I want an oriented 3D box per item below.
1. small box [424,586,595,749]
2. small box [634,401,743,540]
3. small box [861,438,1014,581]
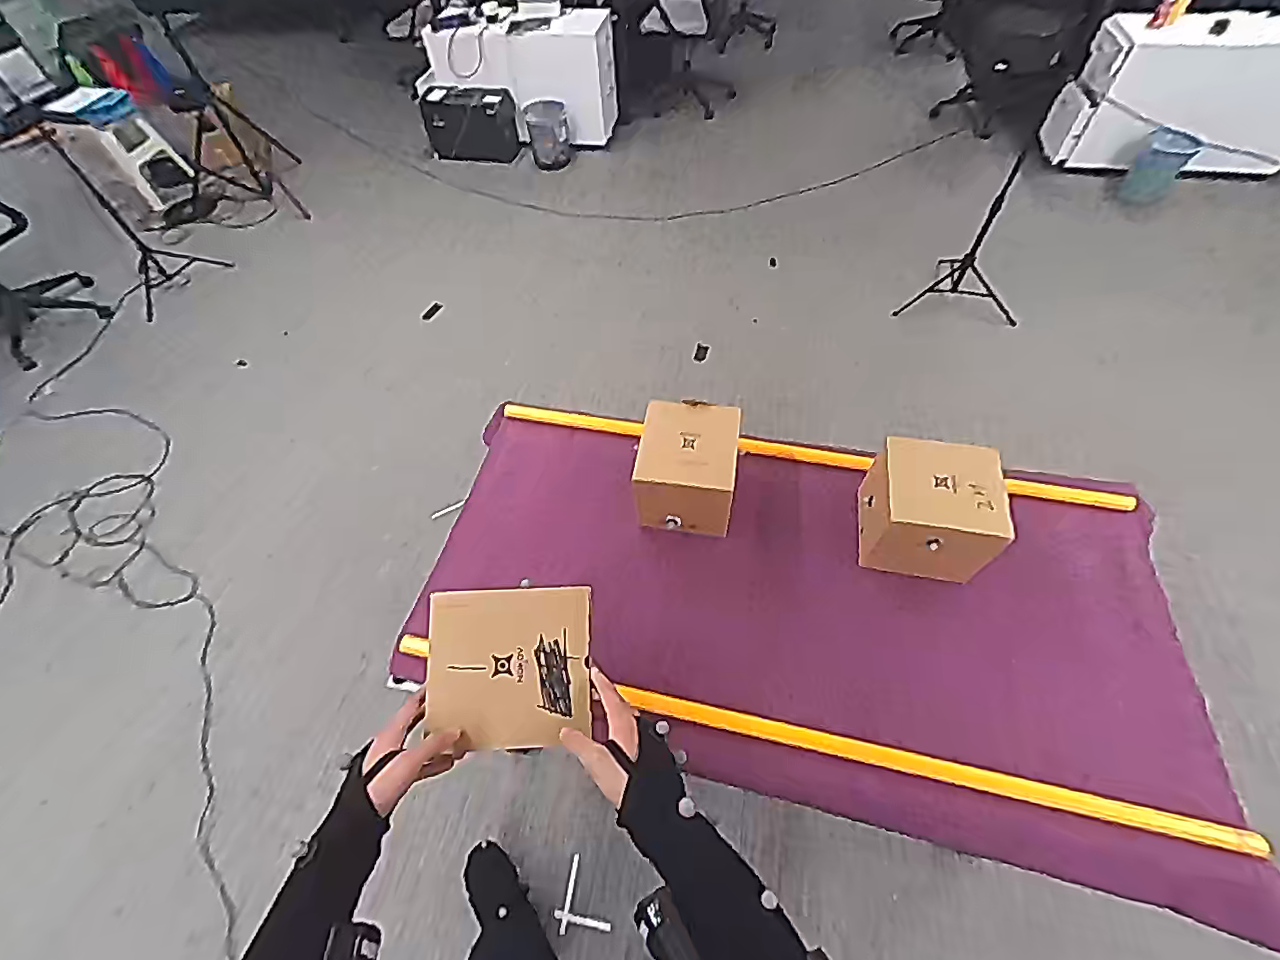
[{"bbox_3d":[-0.147,0.217,0.658,0.179,0.176,0.168,-1,75,-6],"label":"small box"},{"bbox_3d":[0.087,-0.016,0.970,0.168,0.176,0.179,6,57,8],"label":"small box"},{"bbox_3d":[0.477,0.054,0.900,0.179,0.176,0.168,9,58,9],"label":"small box"}]
